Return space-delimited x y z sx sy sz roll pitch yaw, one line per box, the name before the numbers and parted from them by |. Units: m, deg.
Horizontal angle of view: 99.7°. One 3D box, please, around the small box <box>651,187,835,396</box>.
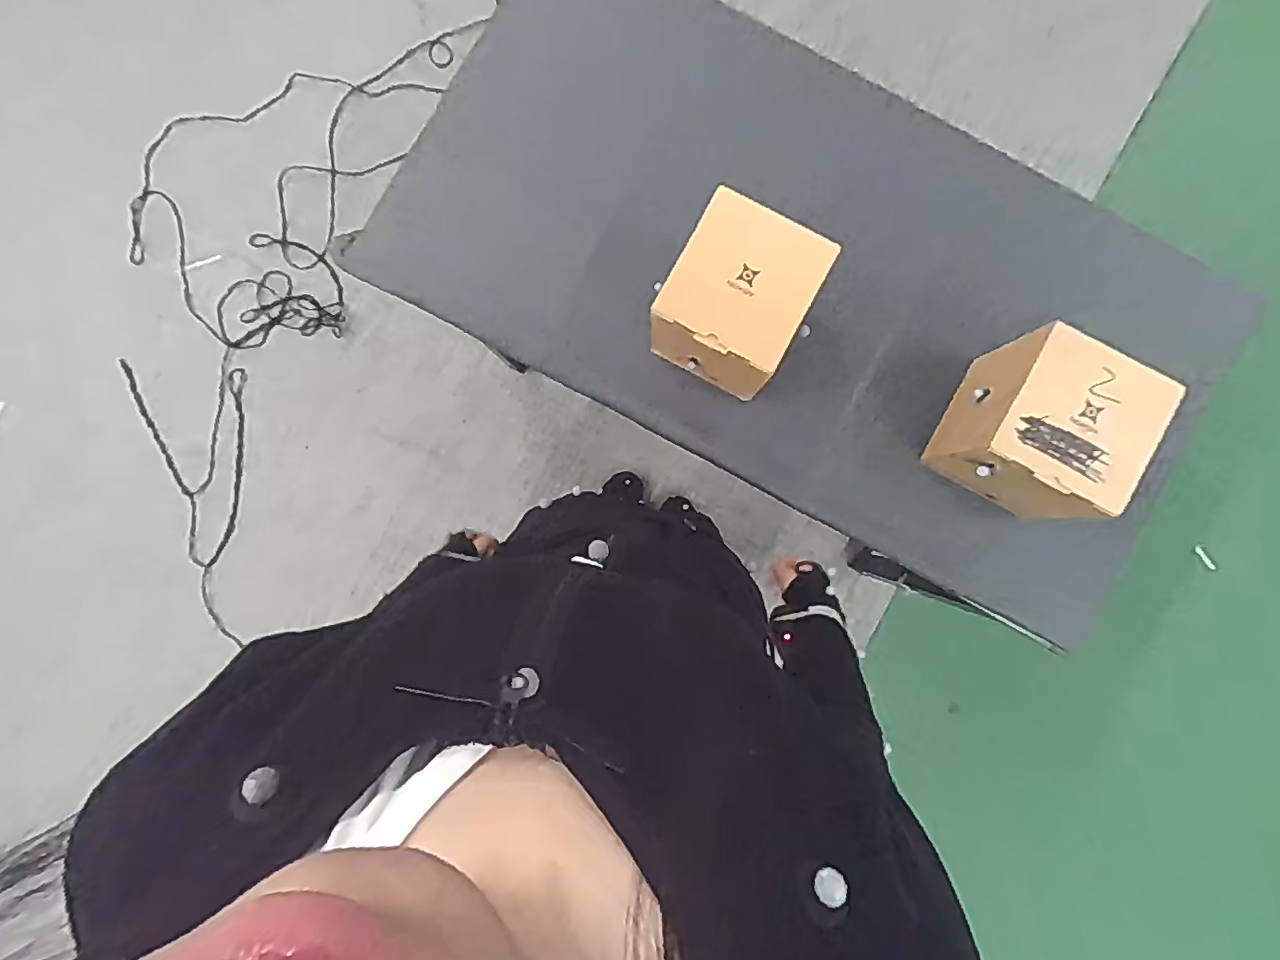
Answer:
small box | 0.121 -0.235 0.719 0.168 0.176 0.179 28 89 1
